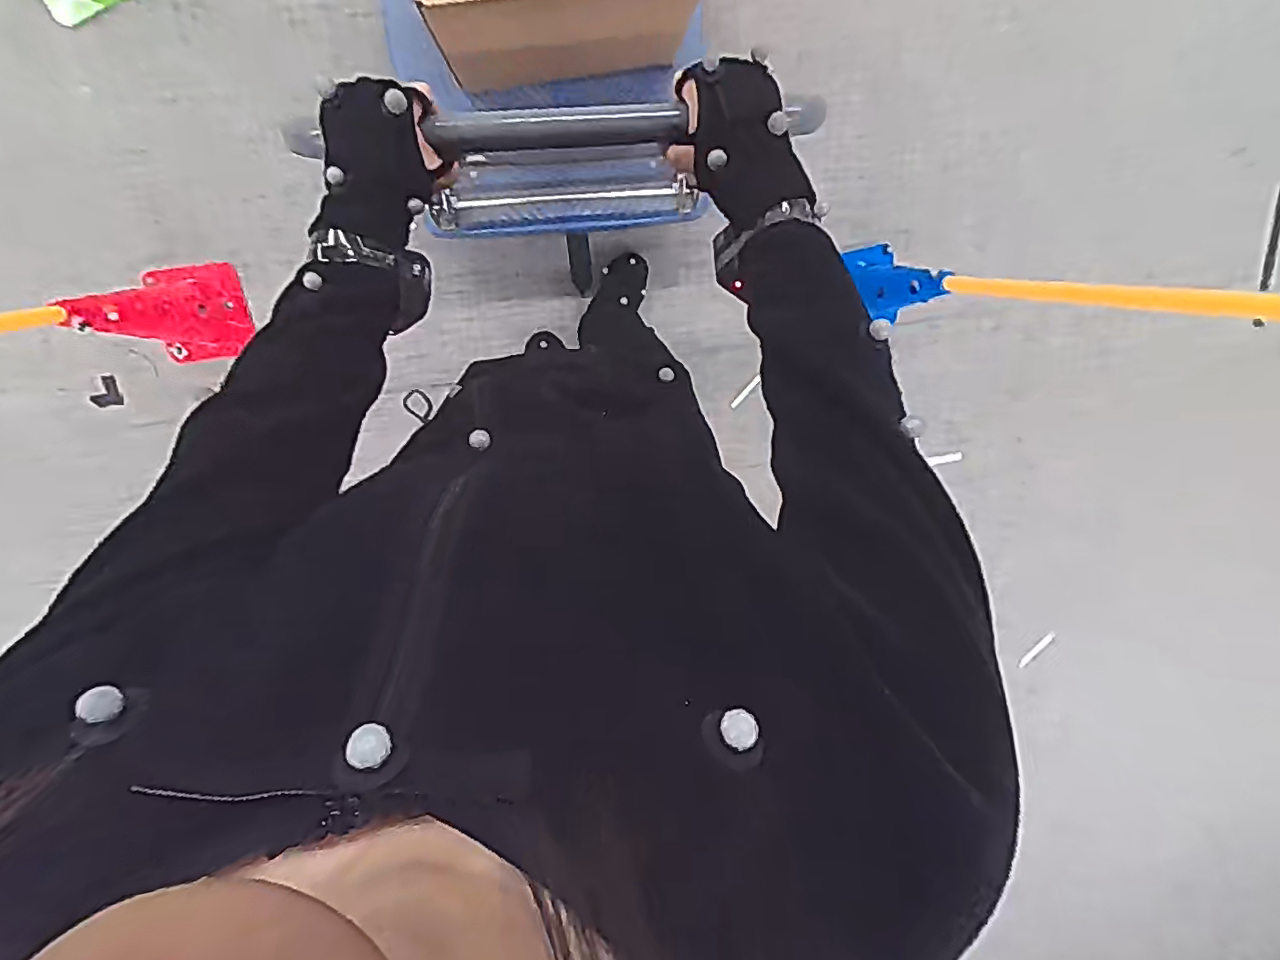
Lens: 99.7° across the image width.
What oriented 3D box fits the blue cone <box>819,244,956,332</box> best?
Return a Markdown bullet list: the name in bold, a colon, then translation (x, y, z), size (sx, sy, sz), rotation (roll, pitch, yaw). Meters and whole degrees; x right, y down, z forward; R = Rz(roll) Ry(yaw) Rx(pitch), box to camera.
- **blue cone**: translation (0.566, -0.435, 1.202), size (0.193, 0.380, 0.192), rotation (-12, 107, -3)
